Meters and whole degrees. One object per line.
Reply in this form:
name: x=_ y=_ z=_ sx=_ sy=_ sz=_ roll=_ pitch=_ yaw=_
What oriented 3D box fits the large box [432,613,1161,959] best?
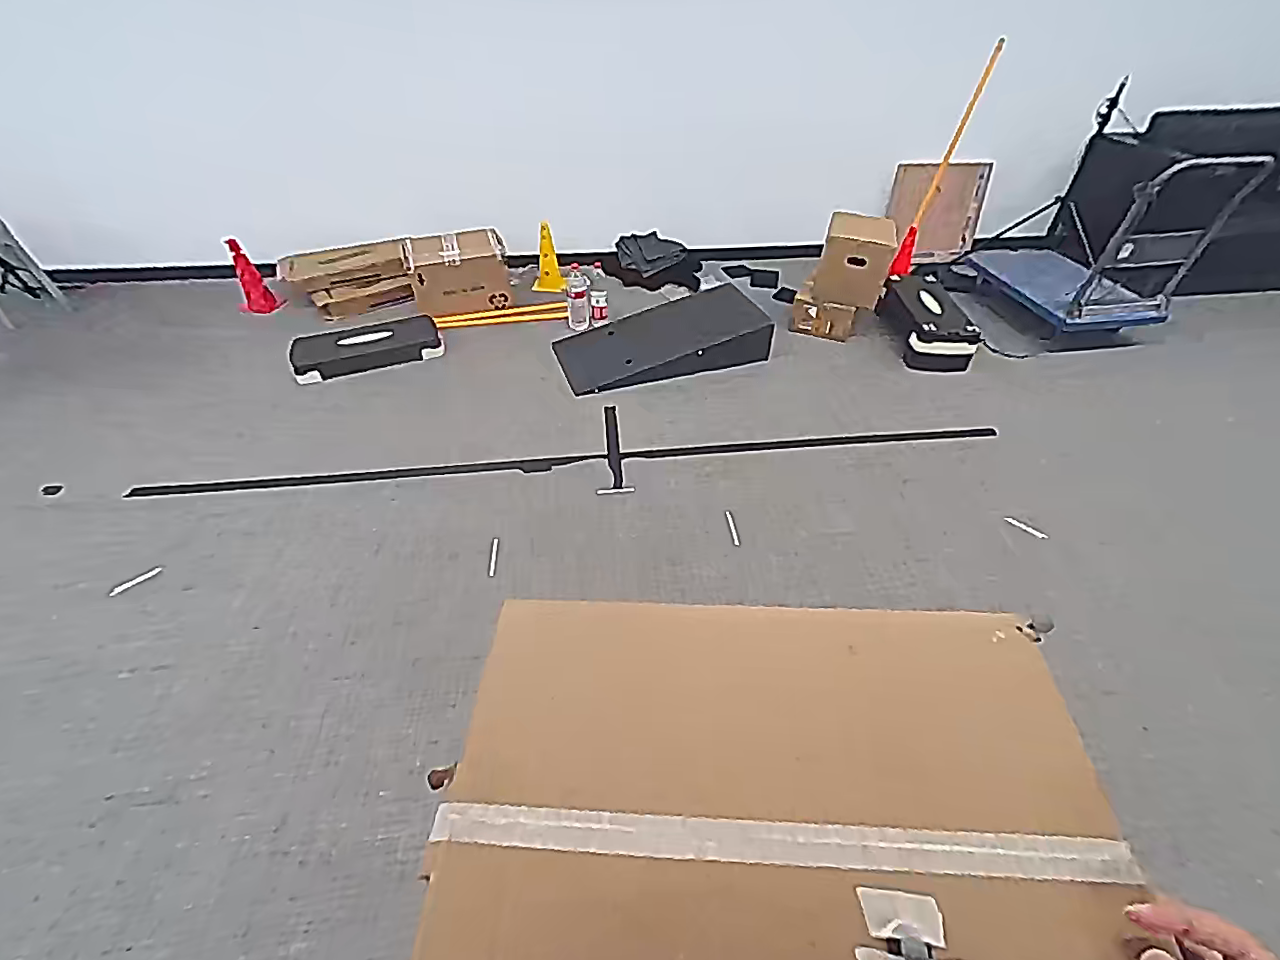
large box: x=0.089 y=0.323 z=0.442 sx=0.408 sy=0.320 sz=0.320 roll=0 pitch=49 yaw=4
